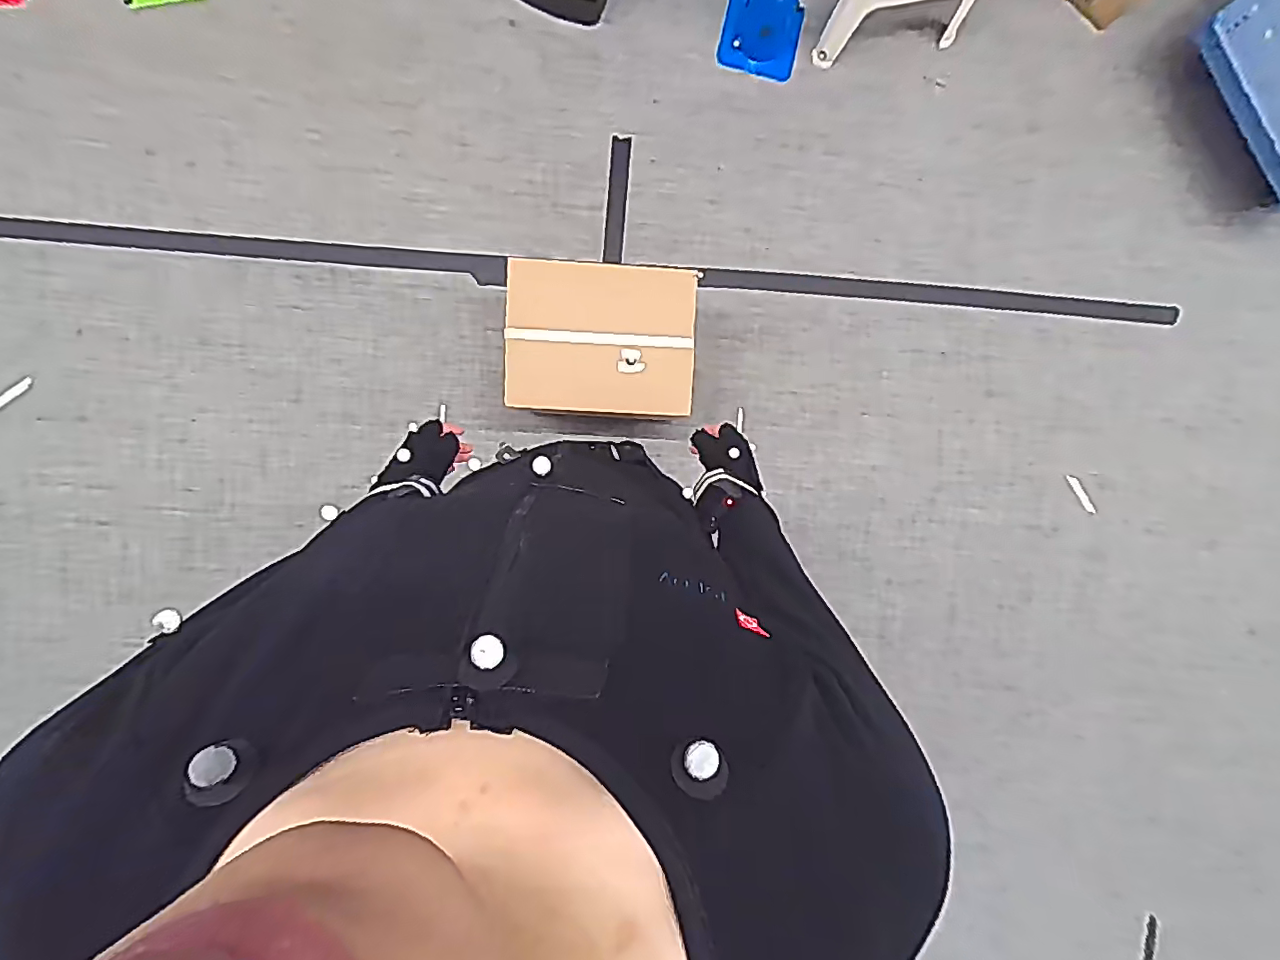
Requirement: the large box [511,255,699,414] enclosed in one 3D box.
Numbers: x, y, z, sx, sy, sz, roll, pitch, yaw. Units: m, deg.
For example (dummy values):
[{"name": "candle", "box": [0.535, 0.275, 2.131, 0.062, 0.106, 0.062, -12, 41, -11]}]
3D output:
[{"name": "large box", "box": [-0.088, -0.325, 1.303, 0.408, 0.320, 0.320, 2, 95, -5]}]
